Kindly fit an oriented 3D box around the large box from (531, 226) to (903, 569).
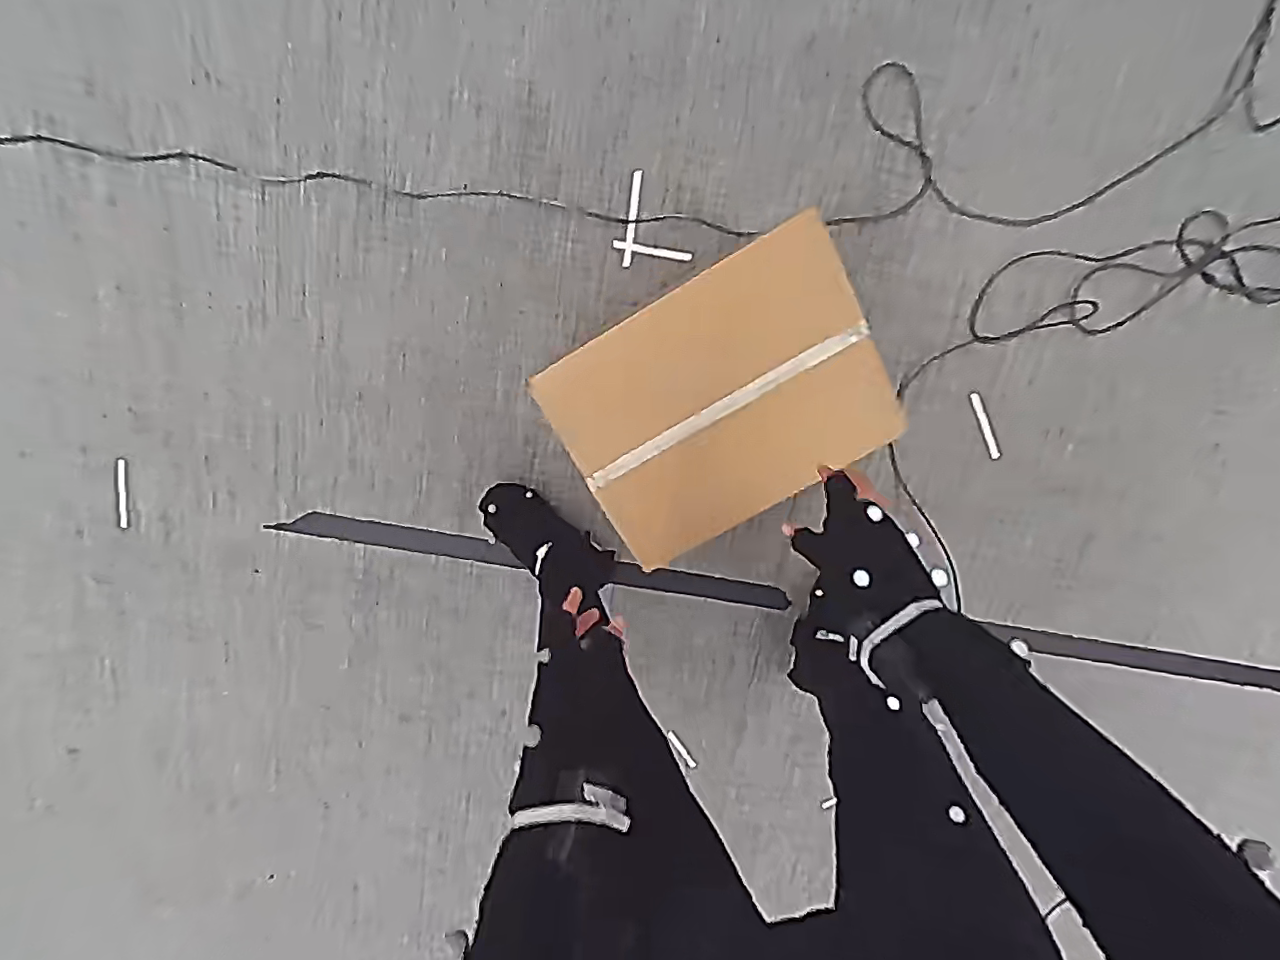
[{"bbox_3d":[0.100,-0.129,0.829,0.408,0.320,0.320,-28,109,8],"label":"large box"}]
